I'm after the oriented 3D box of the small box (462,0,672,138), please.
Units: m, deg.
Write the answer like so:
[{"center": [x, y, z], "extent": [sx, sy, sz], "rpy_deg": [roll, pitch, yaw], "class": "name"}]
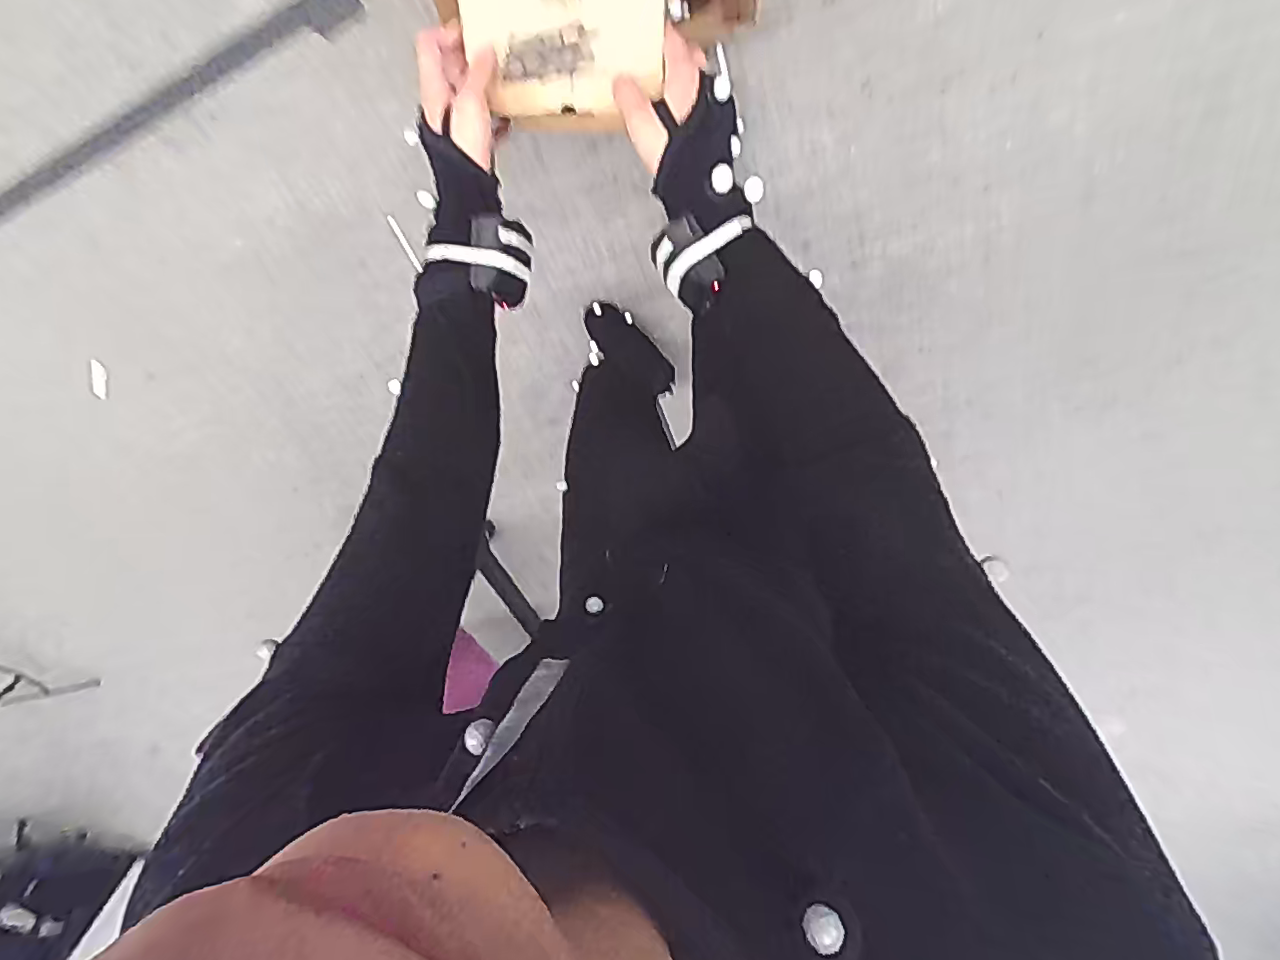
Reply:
[{"center": [-0.055, -0.421, 0.498], "extent": [0.168, 0.176, 0.179], "rpy_deg": [1, 122, 4], "class": "small box"}]
